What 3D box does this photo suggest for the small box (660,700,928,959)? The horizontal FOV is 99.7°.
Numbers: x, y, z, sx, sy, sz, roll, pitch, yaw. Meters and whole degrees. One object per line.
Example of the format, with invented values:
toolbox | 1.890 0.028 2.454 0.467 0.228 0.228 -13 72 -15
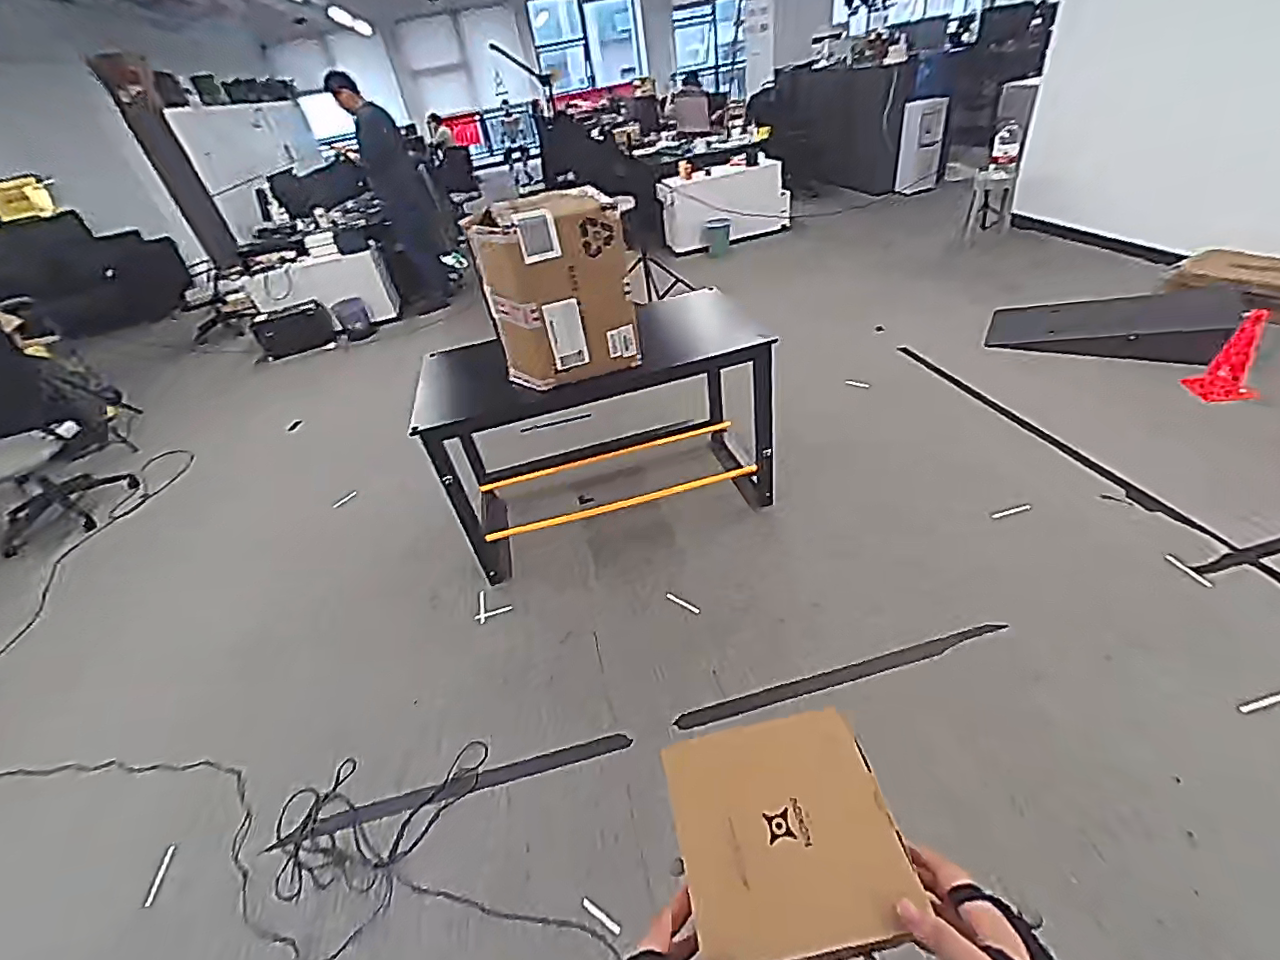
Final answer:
small box | 0.126 0.337 0.507 0.179 0.176 0.168 -14 44 -2
